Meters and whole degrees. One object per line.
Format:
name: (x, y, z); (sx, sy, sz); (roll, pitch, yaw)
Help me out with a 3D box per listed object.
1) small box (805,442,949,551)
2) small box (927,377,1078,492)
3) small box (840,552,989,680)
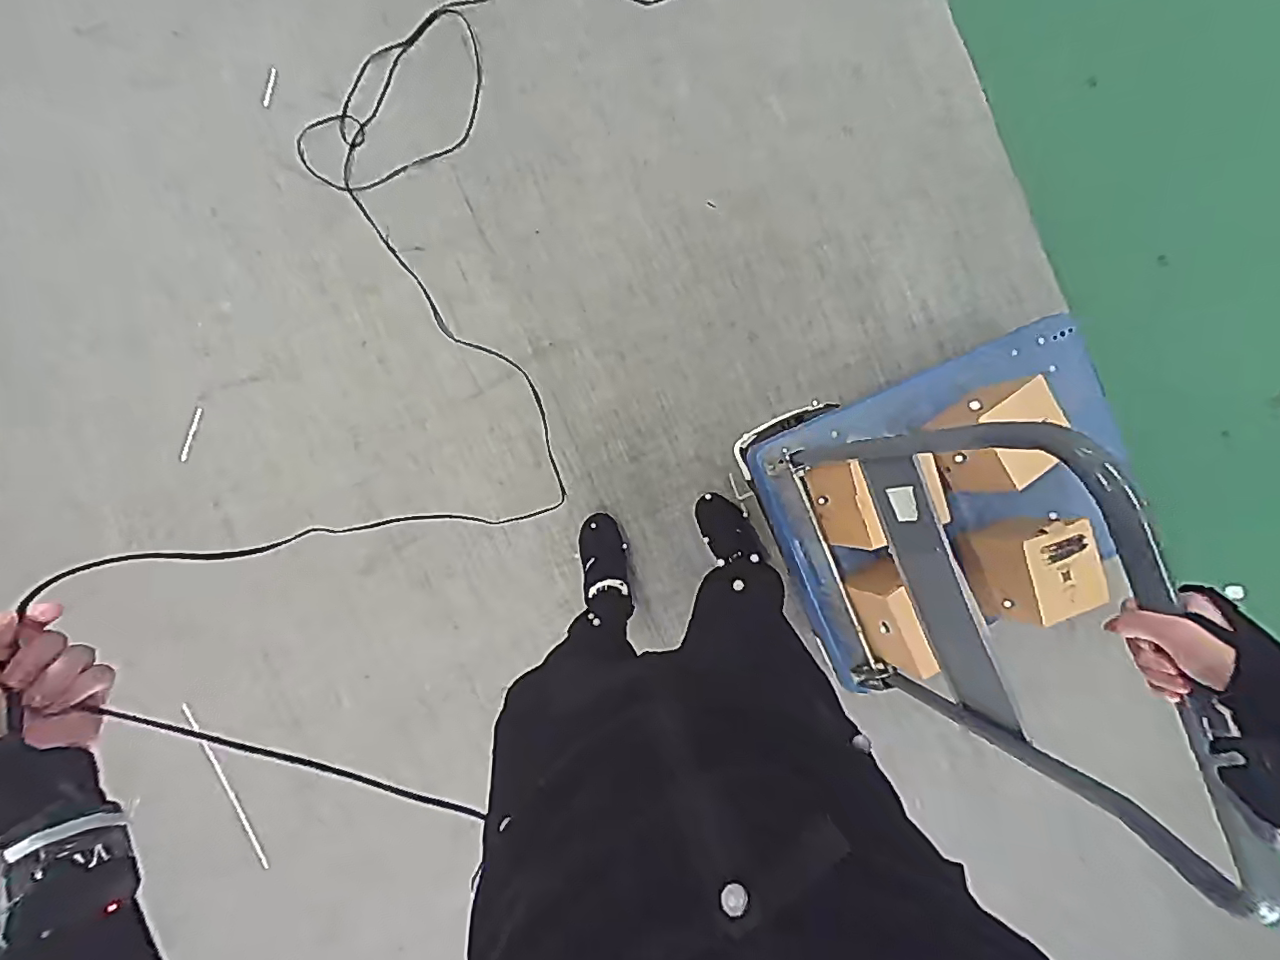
small box: (0.457, 0.029, 1.062); (0.179, 0.176, 0.168); (-17, 92, -11)
small box: (0.733, -0.086, 1.118); (0.179, 0.176, 0.168); (-33, 95, -10)
small box: (0.528, 0.254, 1.065); (0.168, 0.176, 0.179); (-27, 95, -10)
